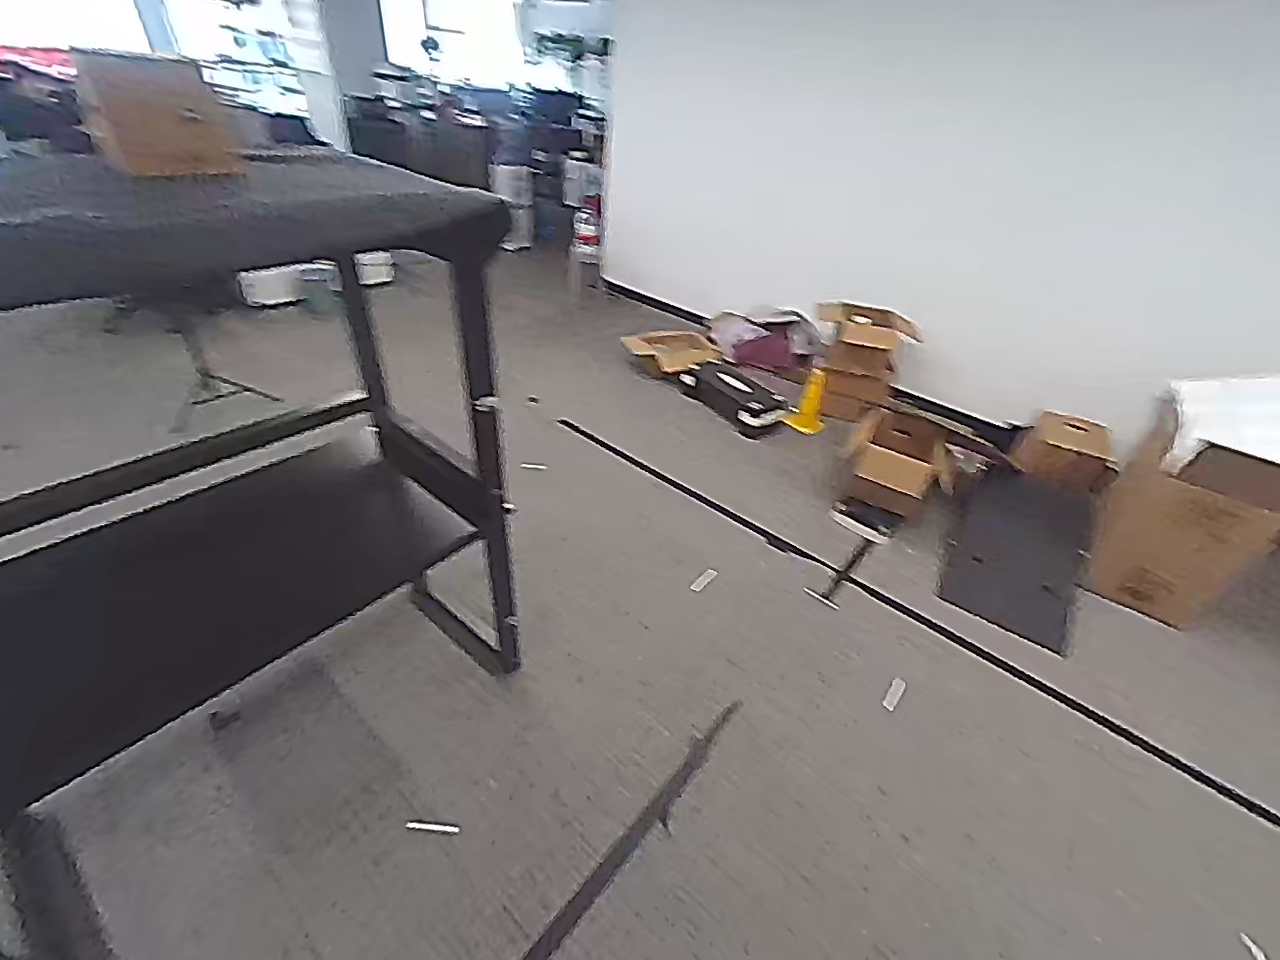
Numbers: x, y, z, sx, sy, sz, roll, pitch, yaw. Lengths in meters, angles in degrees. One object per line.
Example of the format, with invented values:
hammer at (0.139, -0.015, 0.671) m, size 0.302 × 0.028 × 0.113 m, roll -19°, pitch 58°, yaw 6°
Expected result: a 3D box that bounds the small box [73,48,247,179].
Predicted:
small box at (-0.812, -0.623, 0.927) m, size 0.168 × 0.176 × 0.179 m, roll -27°, pitch 47°, yaw -37°
